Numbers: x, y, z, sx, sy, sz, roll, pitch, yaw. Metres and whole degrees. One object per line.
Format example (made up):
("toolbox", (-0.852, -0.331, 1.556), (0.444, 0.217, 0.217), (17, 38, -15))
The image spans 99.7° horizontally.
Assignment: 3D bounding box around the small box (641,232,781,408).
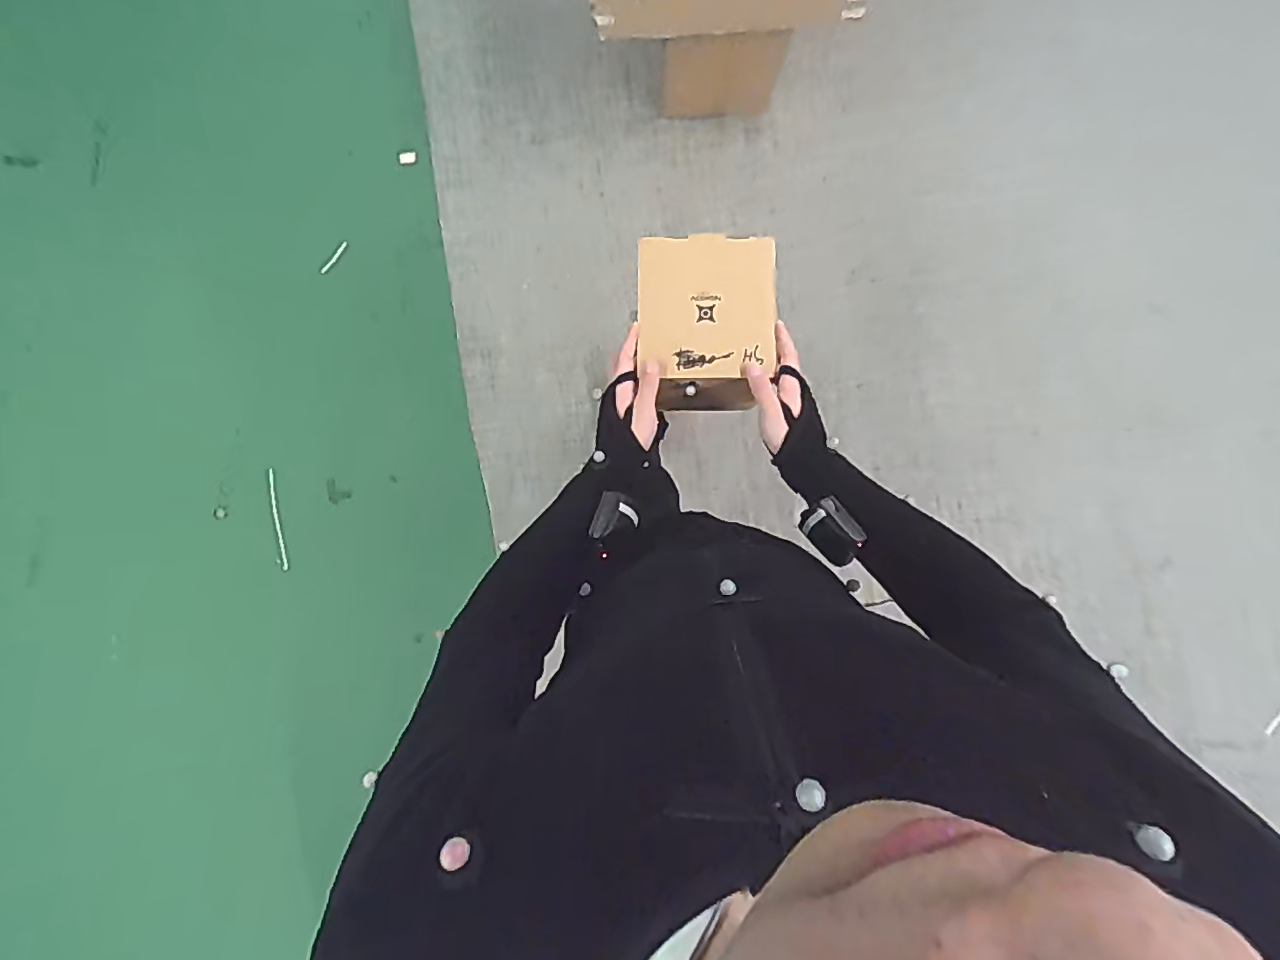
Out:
("small box", (0.086, -0.202, 0.717), (0.168, 0.176, 0.179), (1, 85, 2))
